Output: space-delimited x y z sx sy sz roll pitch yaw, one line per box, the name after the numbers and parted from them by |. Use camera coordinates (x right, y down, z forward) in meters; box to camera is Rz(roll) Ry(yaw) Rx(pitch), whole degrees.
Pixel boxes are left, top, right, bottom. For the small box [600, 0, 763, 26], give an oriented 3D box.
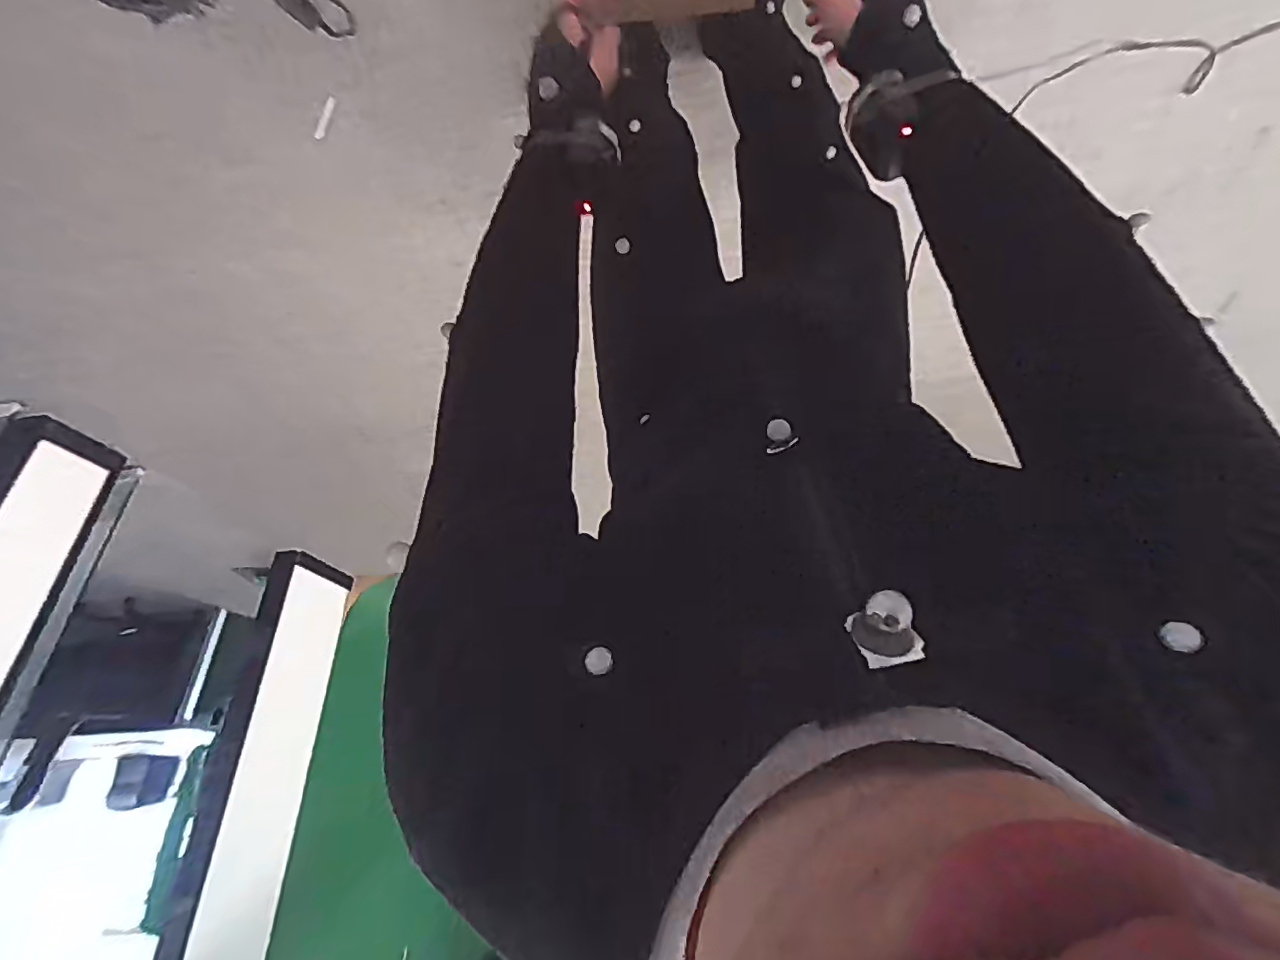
0.034 -0.582 0.515 0.168 0.176 0.179 -4 151 2 | small box
